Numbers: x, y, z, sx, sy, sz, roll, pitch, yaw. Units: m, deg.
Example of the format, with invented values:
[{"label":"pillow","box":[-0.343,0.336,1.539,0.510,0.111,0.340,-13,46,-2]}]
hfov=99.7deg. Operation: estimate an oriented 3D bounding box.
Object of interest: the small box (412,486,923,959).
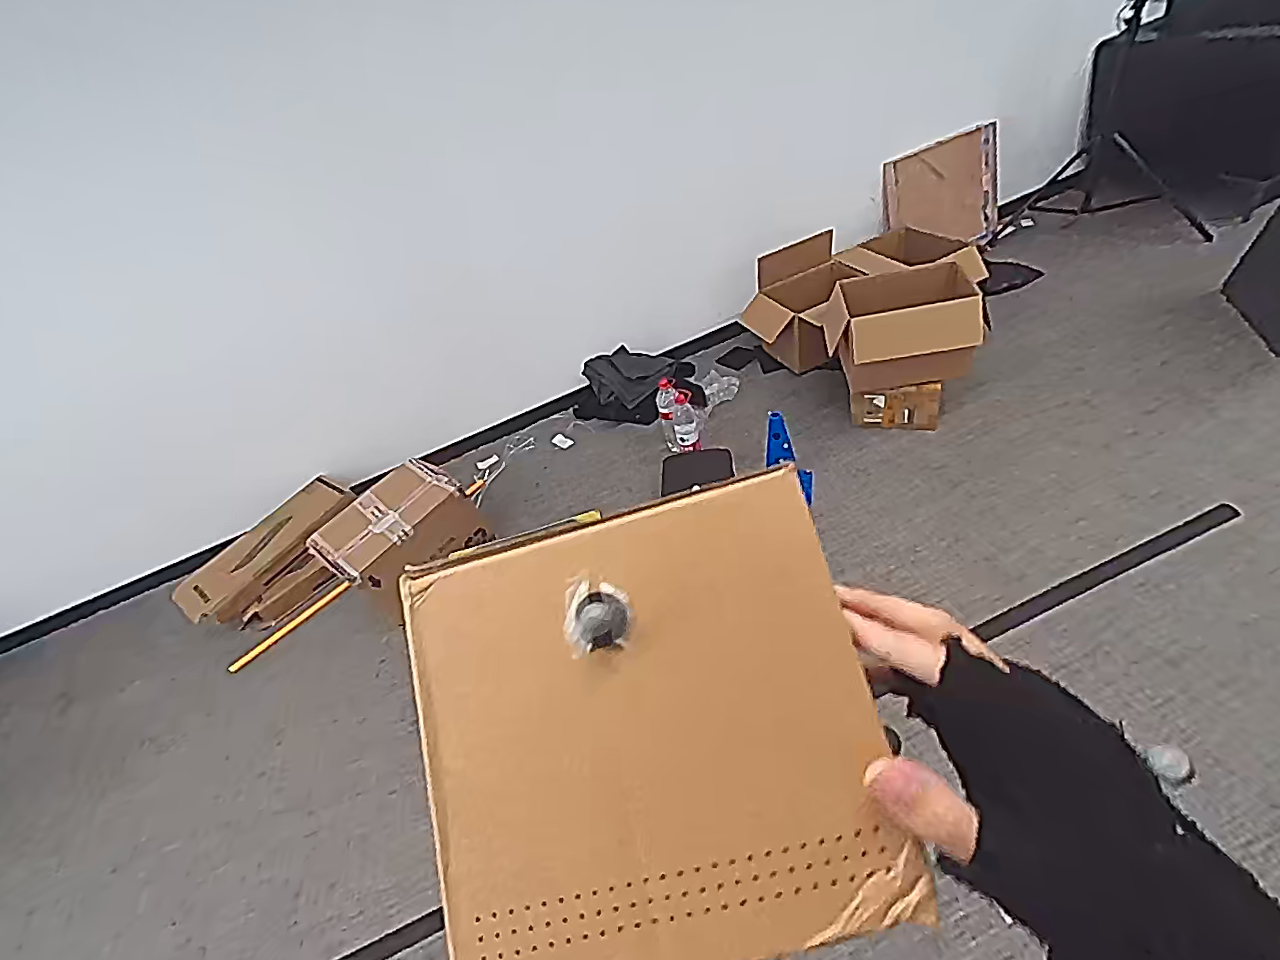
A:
[{"label":"small box","box":[0.012,0.120,0.286,0.179,0.168,0.176,-15,76,7]}]
